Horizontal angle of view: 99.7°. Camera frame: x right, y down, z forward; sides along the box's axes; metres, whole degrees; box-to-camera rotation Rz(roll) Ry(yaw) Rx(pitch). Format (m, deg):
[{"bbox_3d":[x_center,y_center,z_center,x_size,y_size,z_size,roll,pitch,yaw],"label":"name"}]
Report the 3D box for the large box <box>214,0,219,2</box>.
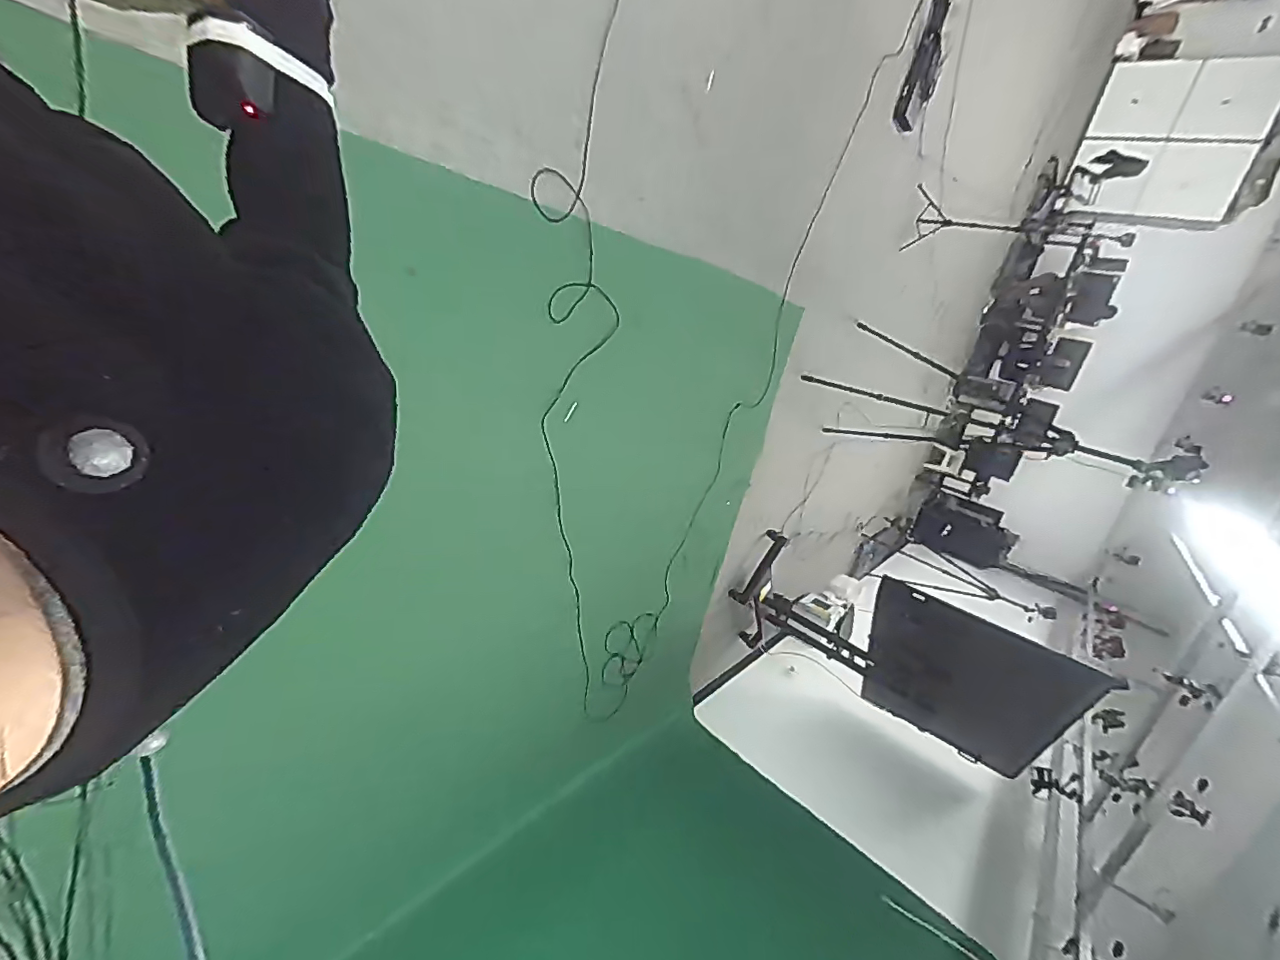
[{"bbox_3d":[-0.514,-0.536,0.282,0.408,0.320,0.320,-17,131,-51],"label":"large box"}]
